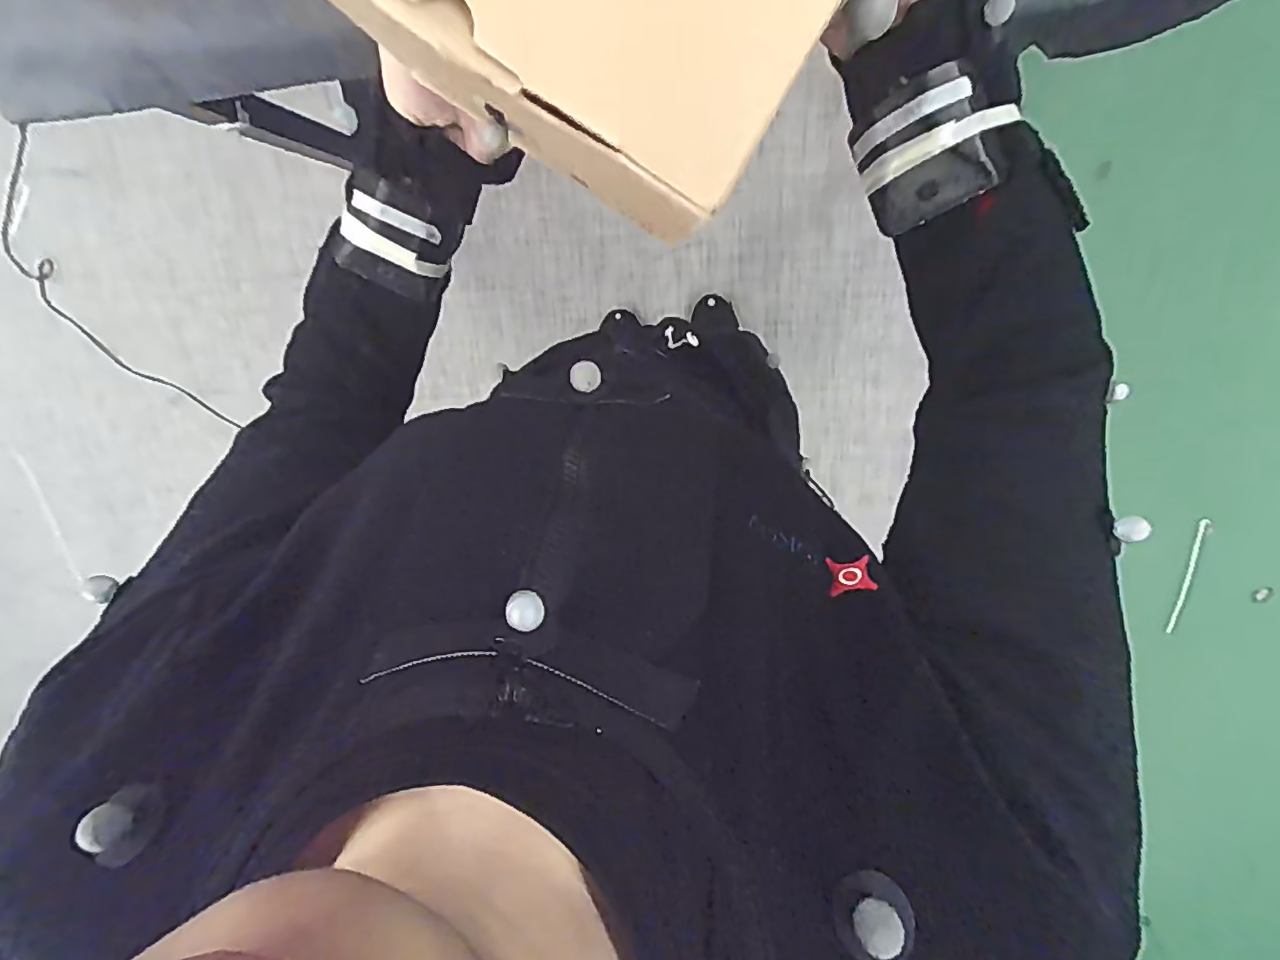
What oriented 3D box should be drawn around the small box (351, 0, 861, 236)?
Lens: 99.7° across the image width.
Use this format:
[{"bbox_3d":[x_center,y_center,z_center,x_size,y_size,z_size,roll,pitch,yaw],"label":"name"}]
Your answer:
[{"bbox_3d":[-0.002,-0.209,0.185,0.168,0.176,0.179,29,109,-10],"label":"small box"}]
